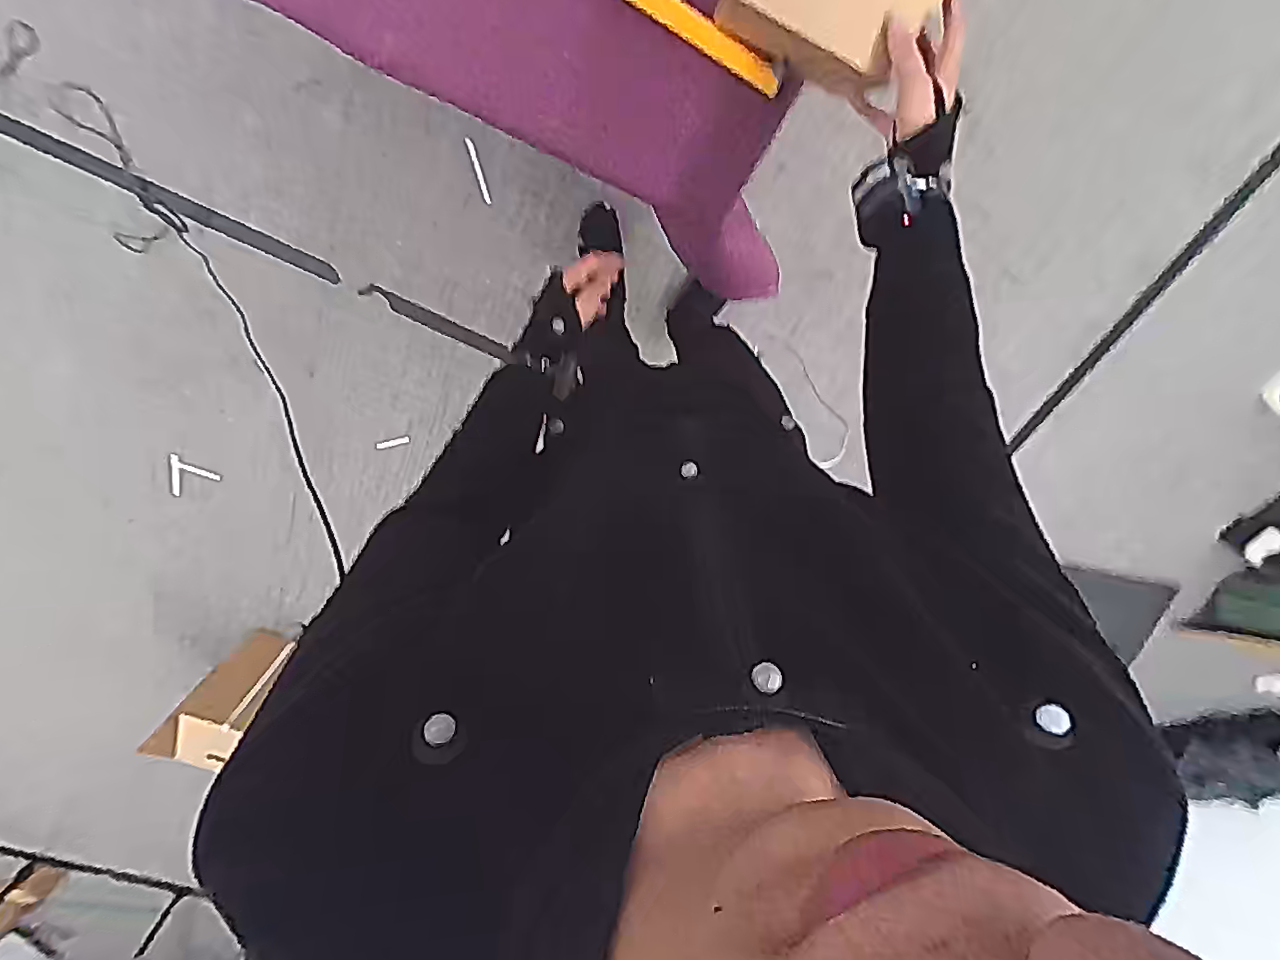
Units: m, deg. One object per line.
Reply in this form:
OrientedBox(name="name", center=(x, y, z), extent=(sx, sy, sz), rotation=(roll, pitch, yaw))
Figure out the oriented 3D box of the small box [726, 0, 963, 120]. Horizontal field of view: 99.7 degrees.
OrientedBox(name="small box", center=(0.203, -0.485, 0.534), extent=(0.179, 0.176, 0.168), rotation=(23, 119, -10))
